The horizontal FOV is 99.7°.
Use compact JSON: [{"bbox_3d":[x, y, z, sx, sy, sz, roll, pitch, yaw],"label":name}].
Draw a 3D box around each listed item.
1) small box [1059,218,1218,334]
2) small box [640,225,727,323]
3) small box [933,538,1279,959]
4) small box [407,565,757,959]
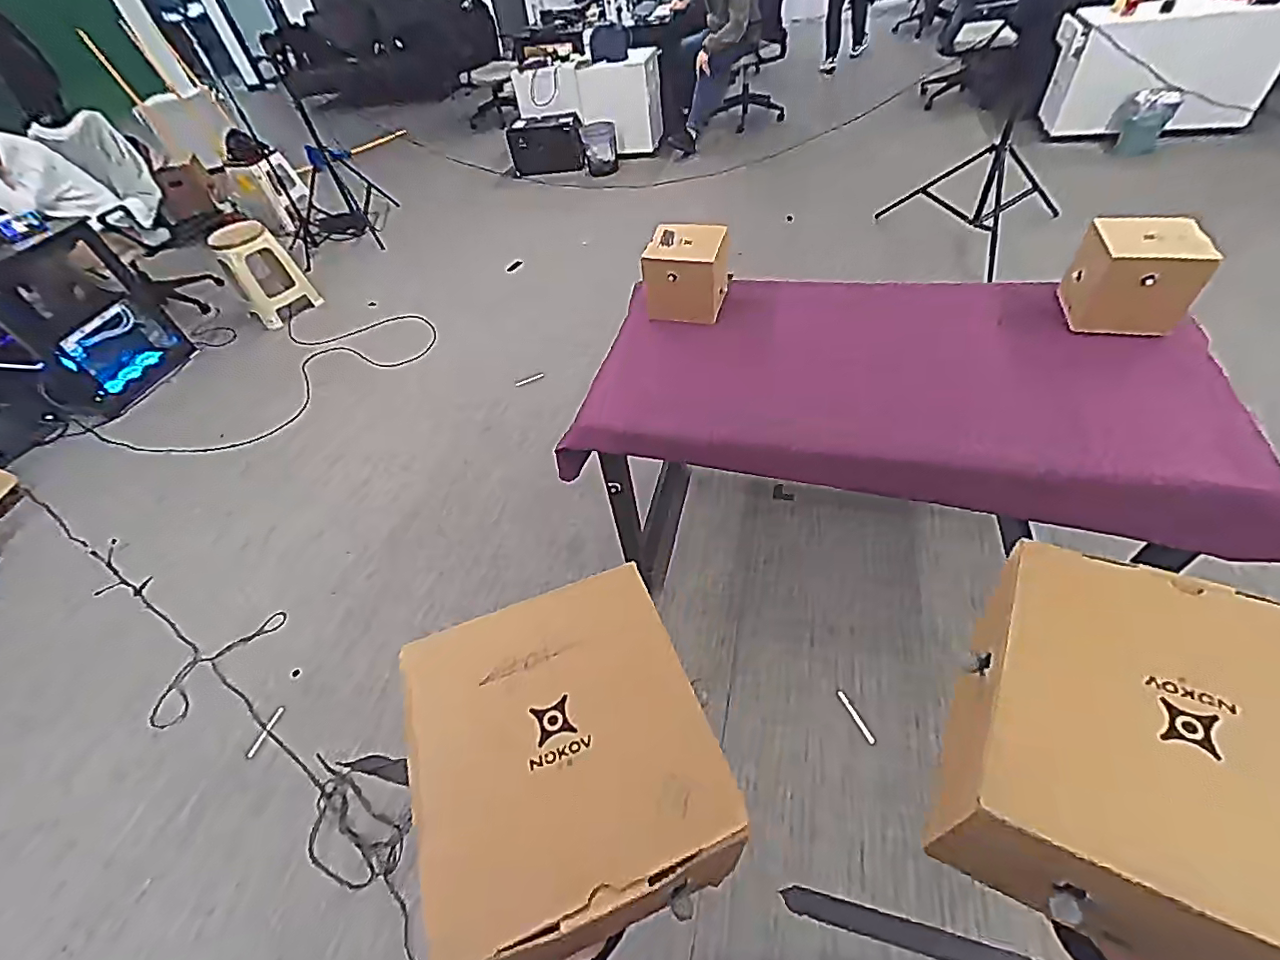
[{"bbox_3d":[1.004,-0.418,1.115,0.179,0.176,0.168,8,52,15],"label":"small box"},{"bbox_3d":[0.113,-0.509,1.339,0.179,0.176,0.168,10,53,15],"label":"small box"},{"bbox_3d":[0.296,0.171,0.334,0.168,0.176,0.179,16,55,27],"label":"small box"},{"bbox_3d":[-0.039,0.195,0.370,0.168,0.176,0.179,-19,49,-13],"label":"small box"}]
